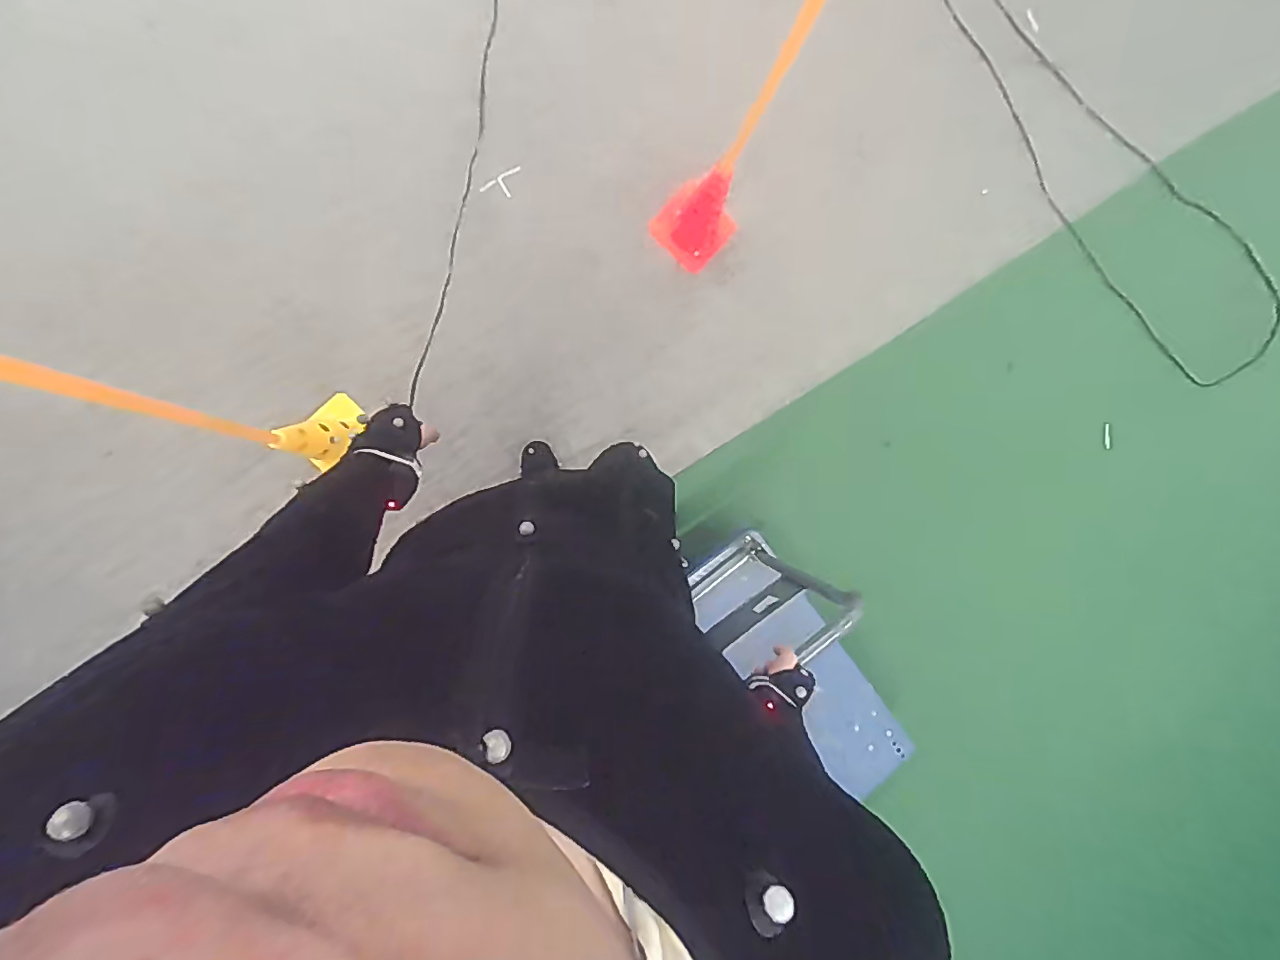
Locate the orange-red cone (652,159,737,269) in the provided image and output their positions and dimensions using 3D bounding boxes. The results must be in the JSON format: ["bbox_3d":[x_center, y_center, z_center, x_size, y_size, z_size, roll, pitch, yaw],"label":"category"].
[{"bbox_3d":[0.184,-0.740,1.427,0.198,0.360,0.199,44,87,-9],"label":"orange-red cone"}]
